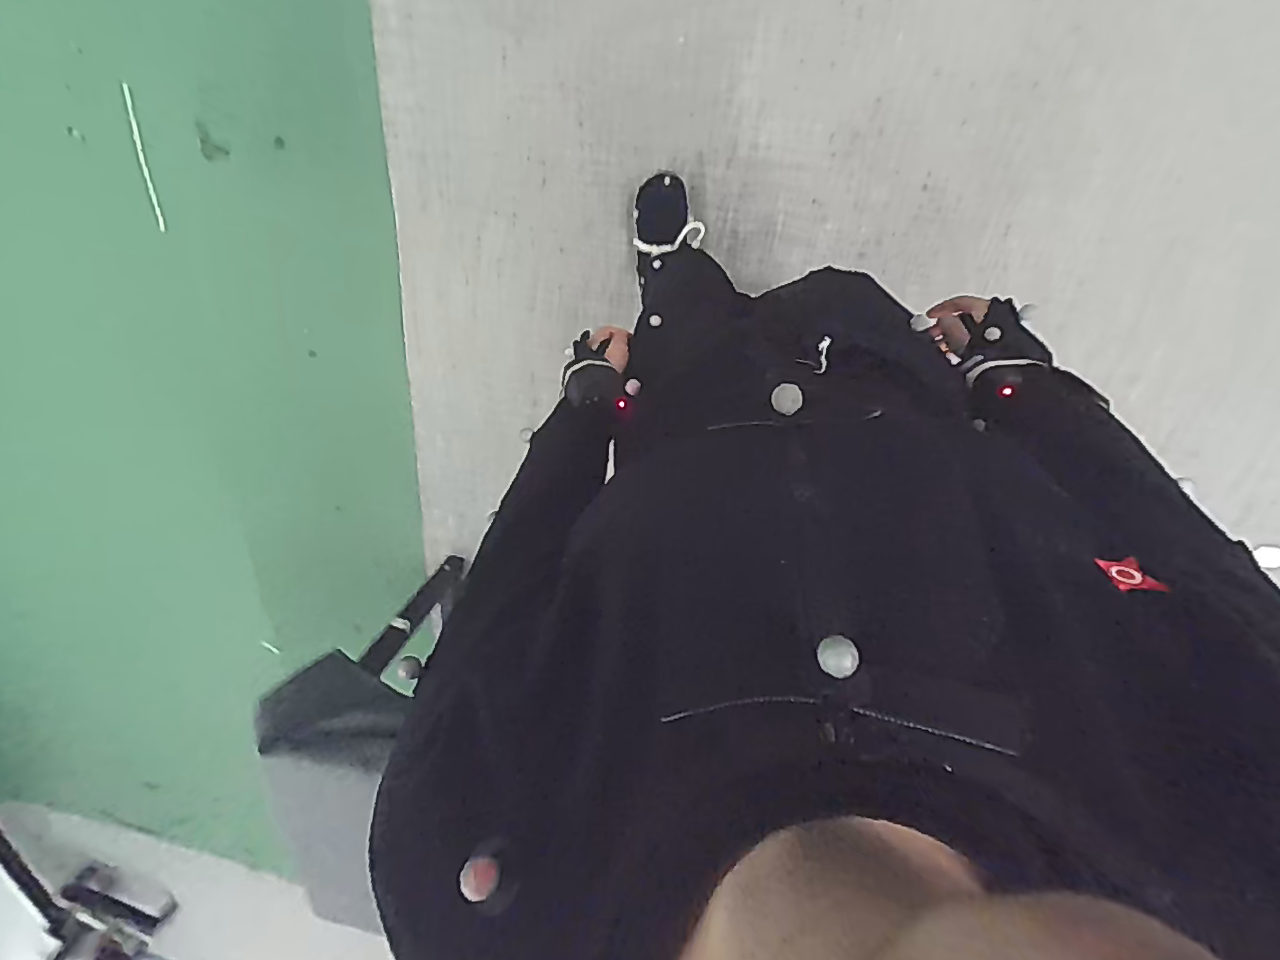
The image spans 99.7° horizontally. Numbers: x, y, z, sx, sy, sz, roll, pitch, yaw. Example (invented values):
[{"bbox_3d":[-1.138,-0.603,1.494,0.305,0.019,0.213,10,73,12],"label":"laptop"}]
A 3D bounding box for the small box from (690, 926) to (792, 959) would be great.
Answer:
[{"bbox_3d":[0.175,0.941,0.962,0.179,0.176,0.168,8,117,9],"label":"small box"}]
